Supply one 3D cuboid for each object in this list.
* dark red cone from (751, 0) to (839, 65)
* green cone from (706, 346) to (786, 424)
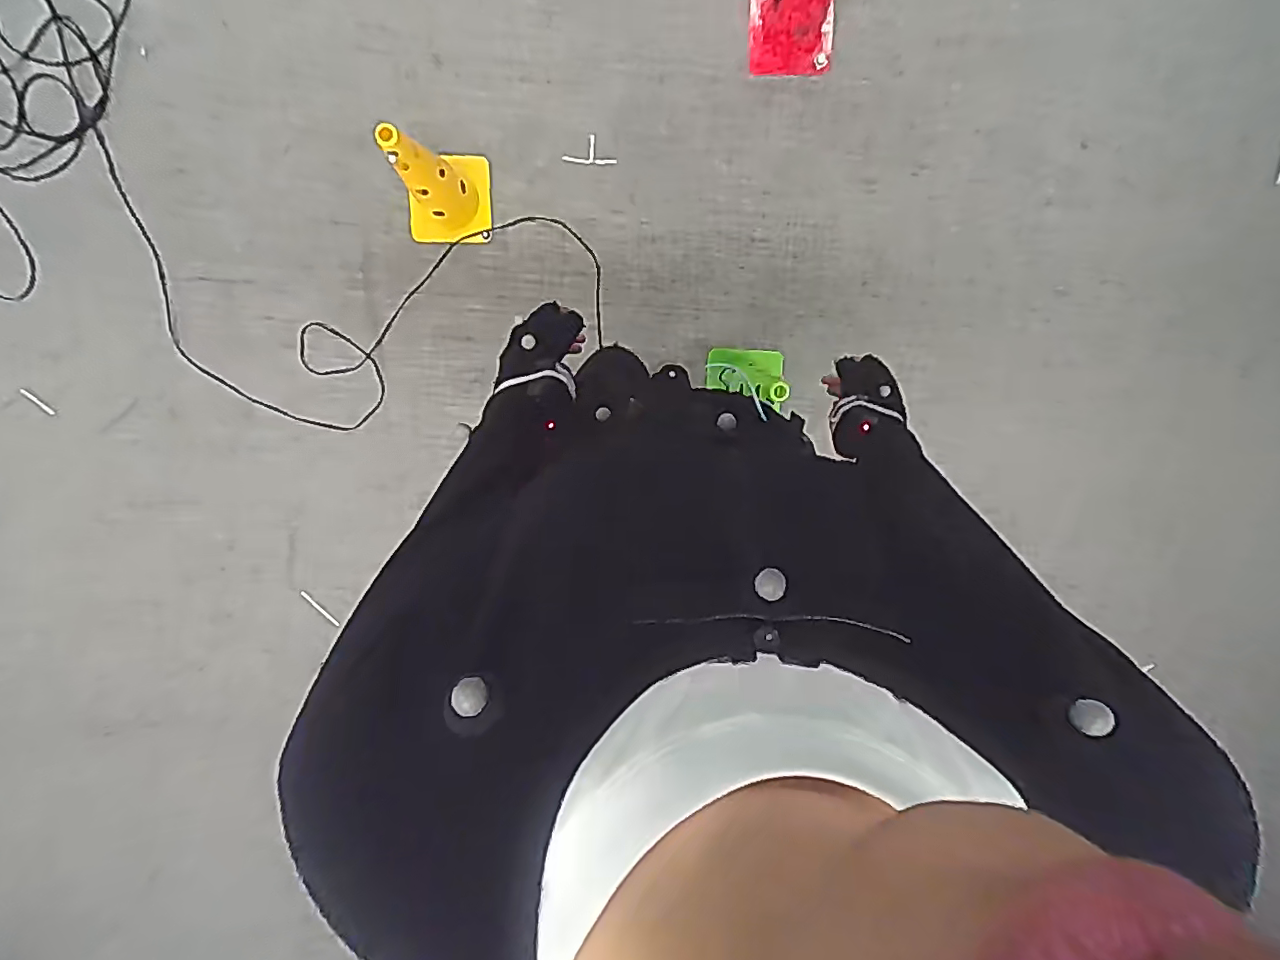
[{"bbox_3d":[0.358,-1.044,1.083,0.202,0.394,0.201,-2,99,0],"label":"dark red cone"},{"bbox_3d":[0.278,-0.220,1.258,0.202,0.368,0.200,2,100,0],"label":"green cone"}]
